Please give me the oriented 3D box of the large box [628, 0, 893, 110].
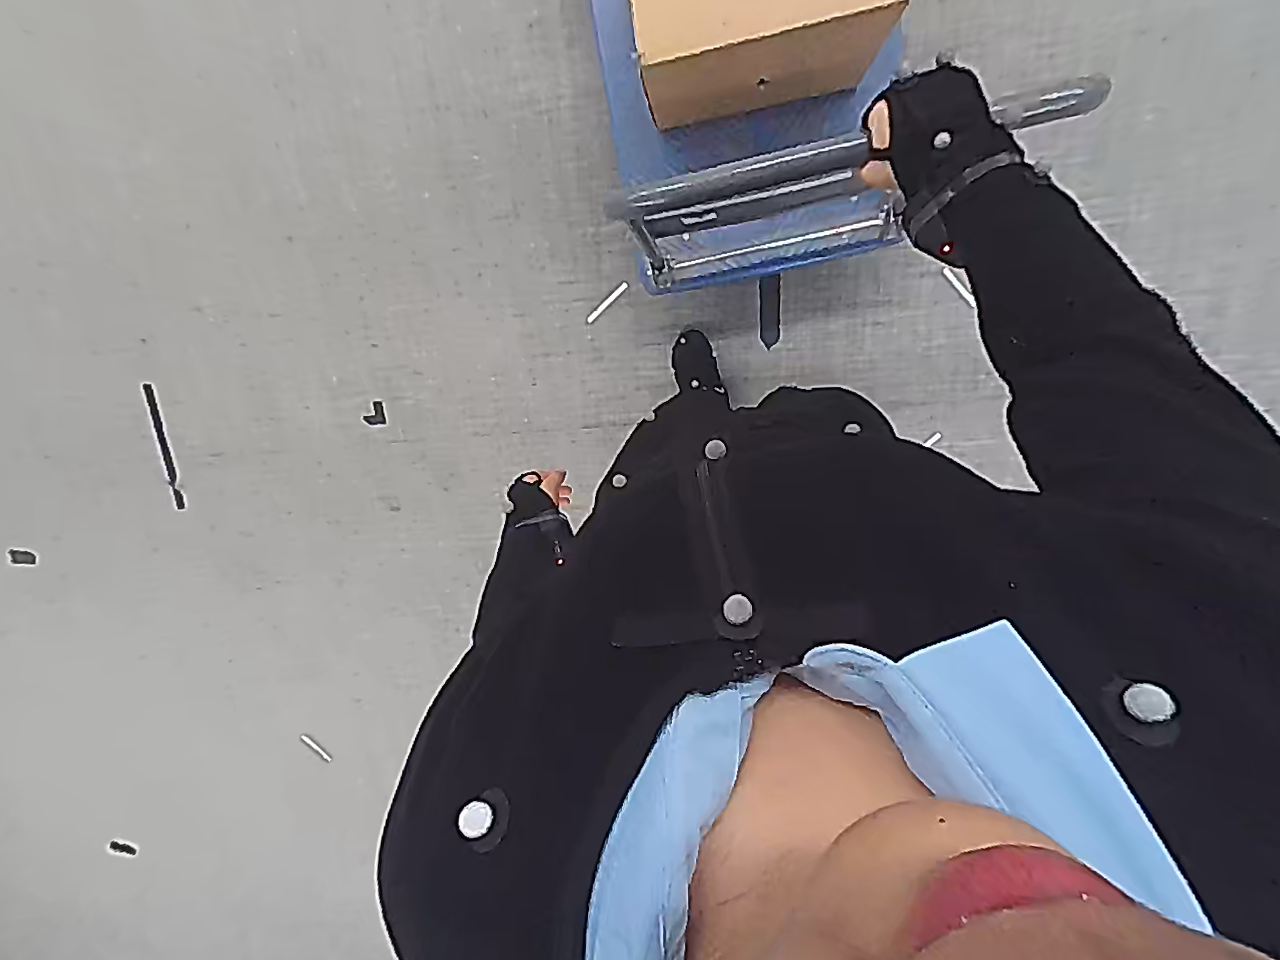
[{"bbox_3d":[0.183,-0.873,0.887,0.408,0.320,0.320,-7,105,11],"label":"large box"}]
